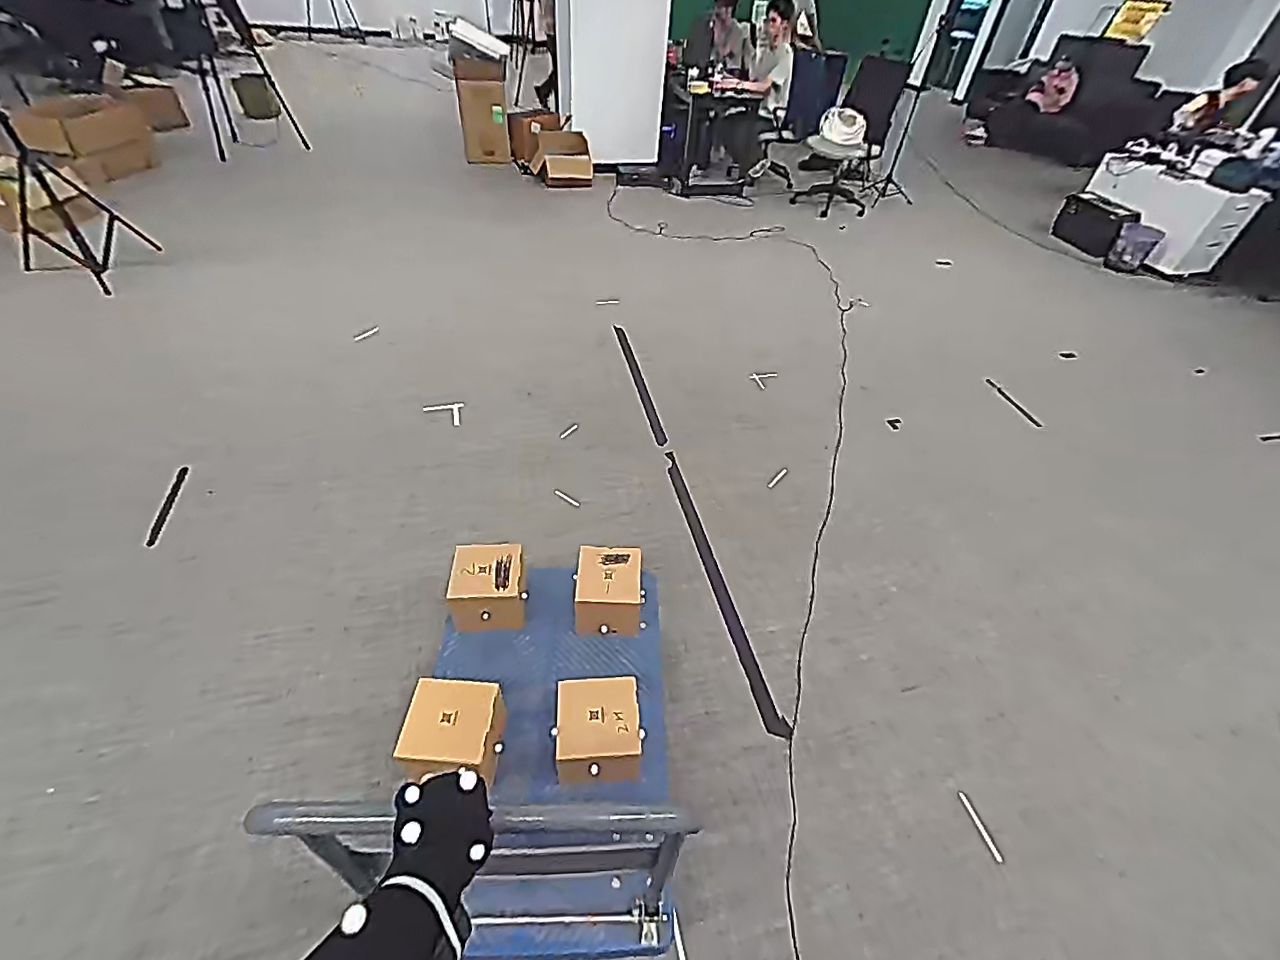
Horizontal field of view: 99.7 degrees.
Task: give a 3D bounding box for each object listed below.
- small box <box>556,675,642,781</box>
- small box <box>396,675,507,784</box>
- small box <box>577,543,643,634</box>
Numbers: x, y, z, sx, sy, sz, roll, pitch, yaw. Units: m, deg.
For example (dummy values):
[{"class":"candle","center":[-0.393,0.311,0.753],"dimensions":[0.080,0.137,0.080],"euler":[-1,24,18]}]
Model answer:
[{"class":"small box","center":[-0.091,0.552,1.199],"dimensions":[0.179,0.176,0.168],"euler":[0,45,-6]},{"class":"small box","center":[-0.399,0.546,1.178],"dimensions":[0.179,0.176,0.168],"euler":[5,44,-2]},{"class":"small box","center":[-0.081,0.294,1.460],"dimensions":[0.168,0.176,0.179],"euler":[3,46,-2]}]
